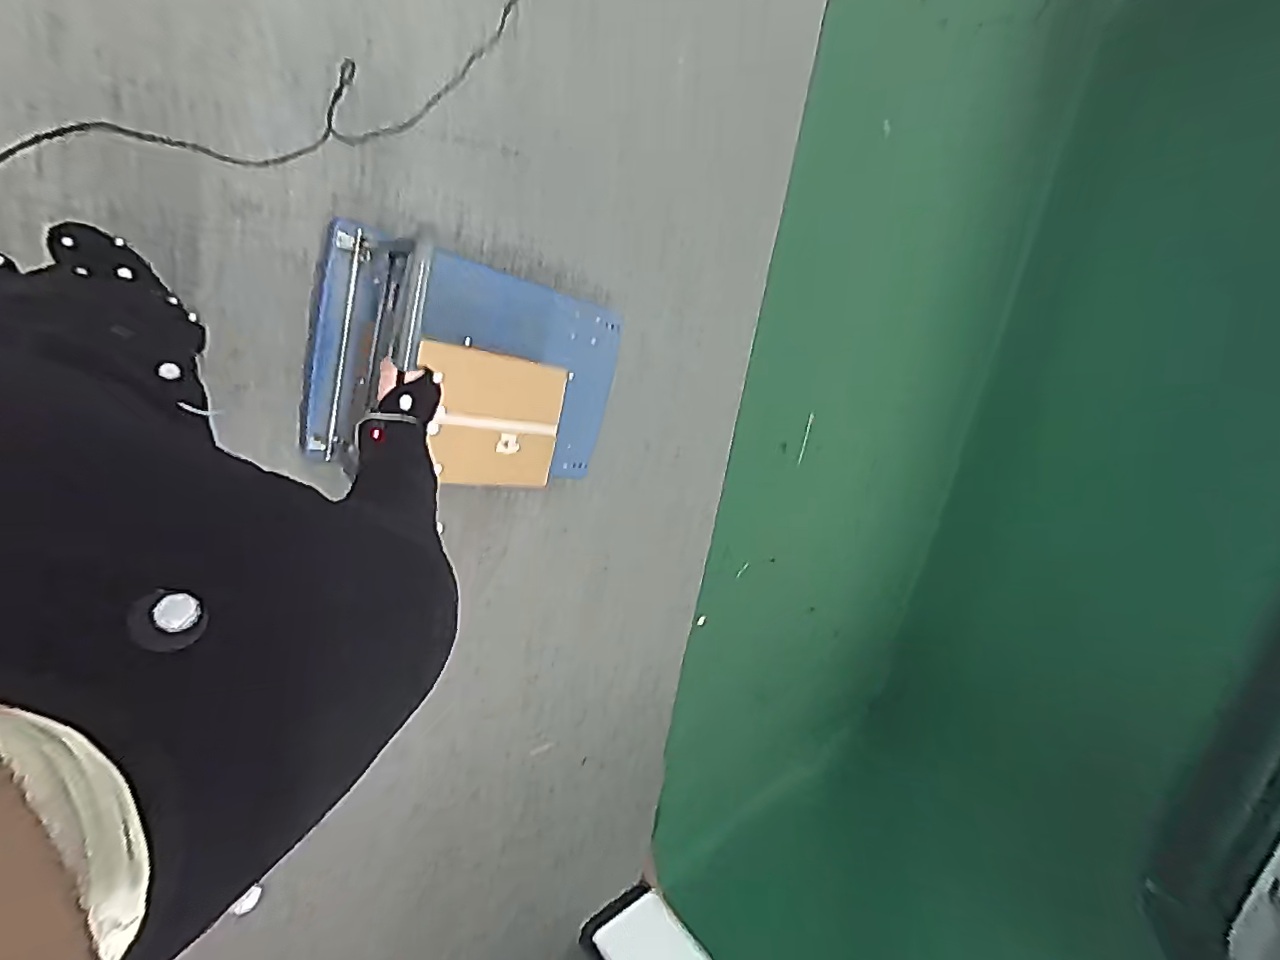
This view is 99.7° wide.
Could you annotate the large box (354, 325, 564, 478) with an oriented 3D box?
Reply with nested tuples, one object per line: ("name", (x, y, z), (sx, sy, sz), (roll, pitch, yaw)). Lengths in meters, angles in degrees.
("large box", (-0.465, -0.195, 1.378), (0.408, 0.320, 0.320), (2, 107, -43))
